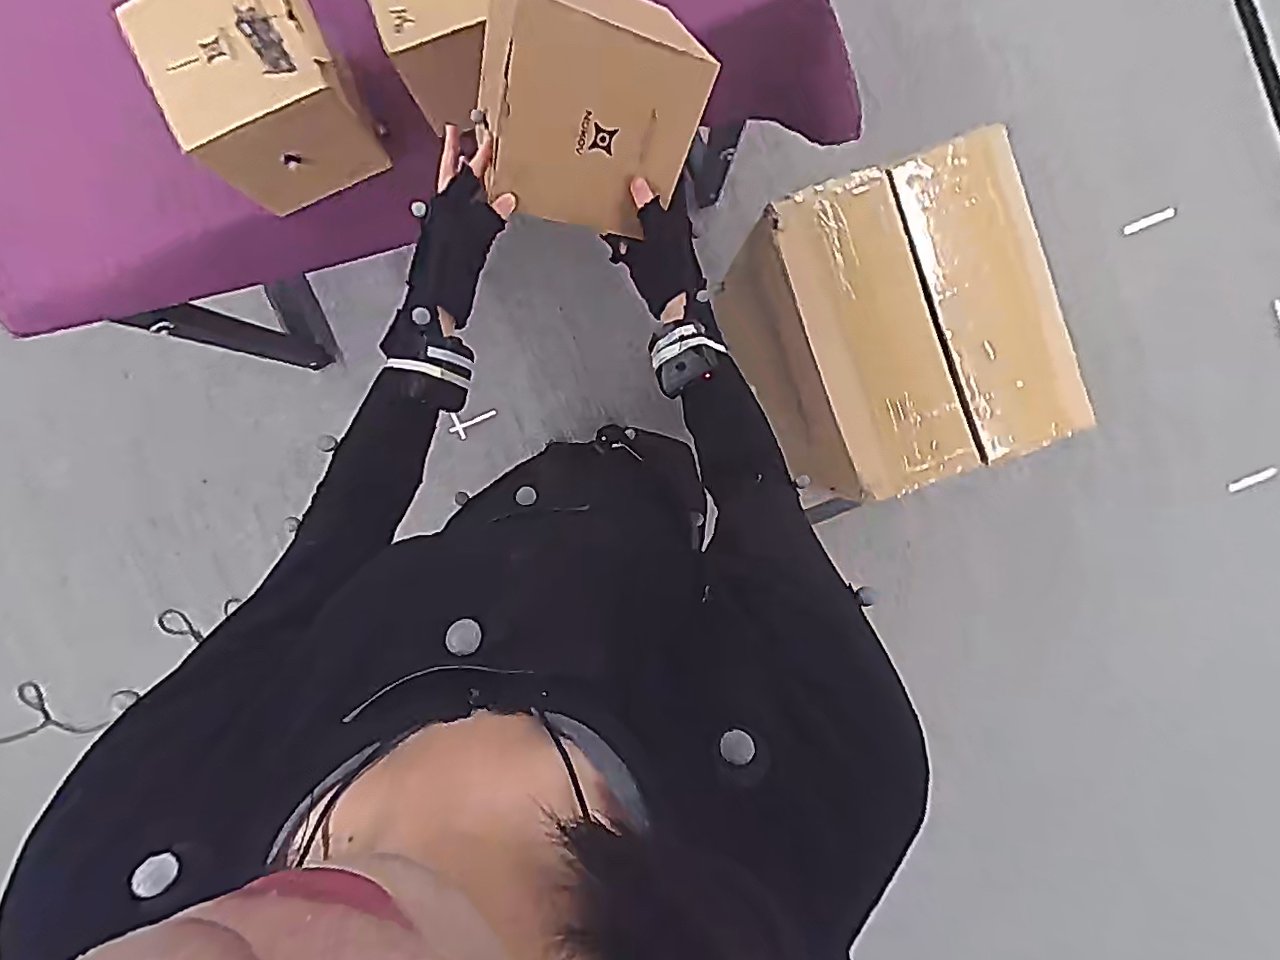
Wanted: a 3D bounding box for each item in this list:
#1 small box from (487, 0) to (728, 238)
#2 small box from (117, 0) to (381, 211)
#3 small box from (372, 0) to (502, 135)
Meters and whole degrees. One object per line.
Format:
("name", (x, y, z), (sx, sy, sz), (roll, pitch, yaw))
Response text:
("small box", (-0.049, -0.373, 0.530), (0.179, 0.168, 0.176), (1, 52, -24))
("small box", (-0.448, -0.467, 0.659), (0.179, 0.176, 0.168), (-24, 93, 1))
("small box", (-0.218, -0.568, 0.660), (0.179, 0.176, 0.168), (-19, 93, -1))
